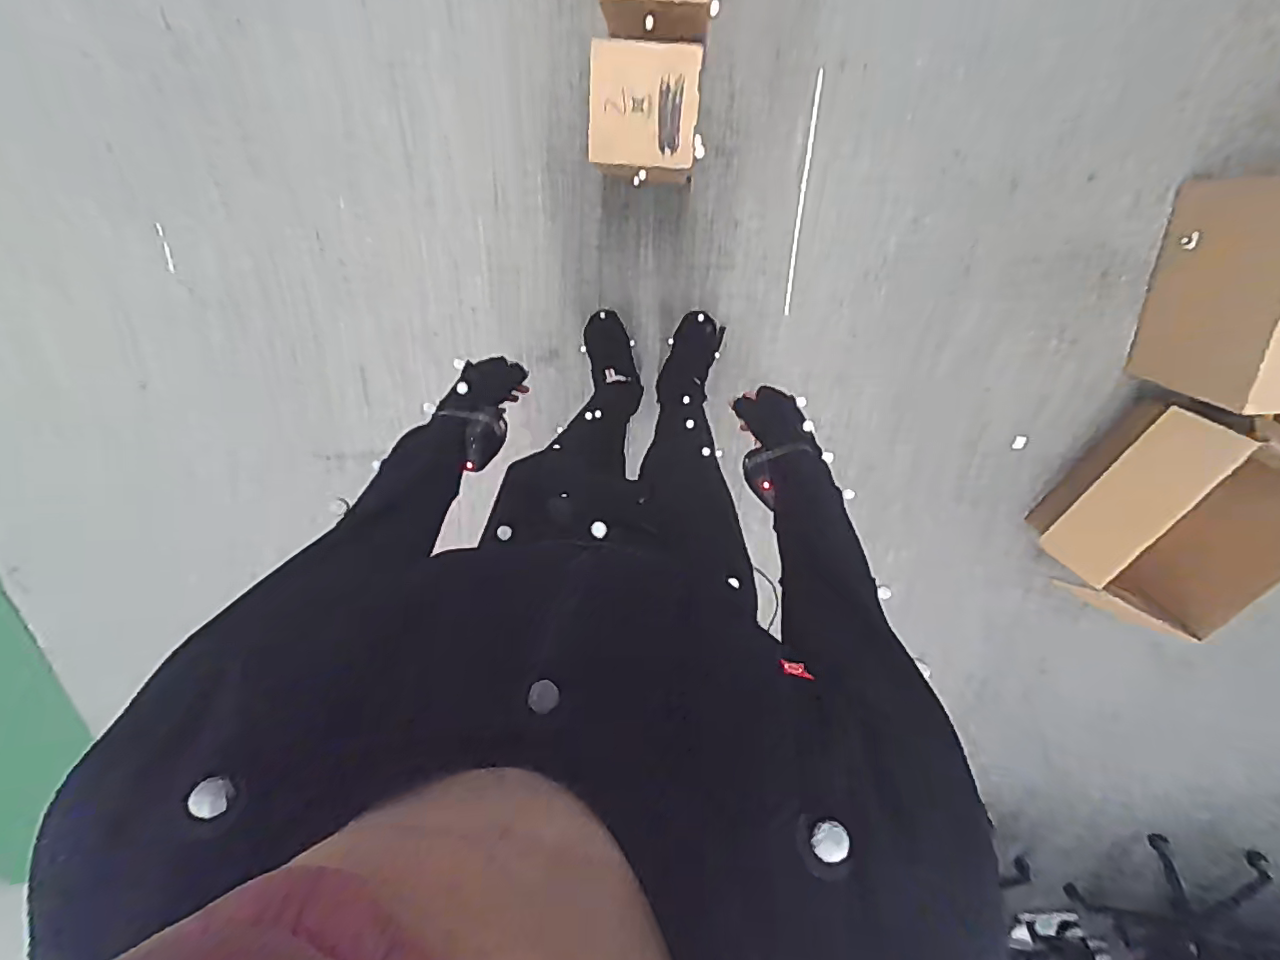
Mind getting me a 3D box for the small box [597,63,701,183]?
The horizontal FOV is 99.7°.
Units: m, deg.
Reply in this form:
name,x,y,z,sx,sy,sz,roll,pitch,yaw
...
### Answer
name,x,y,z,sx,sy,sz,roll,pitch,yaw
small box,0.019,-0.696,1.073,0.179,0.176,0.168,9,116,0
